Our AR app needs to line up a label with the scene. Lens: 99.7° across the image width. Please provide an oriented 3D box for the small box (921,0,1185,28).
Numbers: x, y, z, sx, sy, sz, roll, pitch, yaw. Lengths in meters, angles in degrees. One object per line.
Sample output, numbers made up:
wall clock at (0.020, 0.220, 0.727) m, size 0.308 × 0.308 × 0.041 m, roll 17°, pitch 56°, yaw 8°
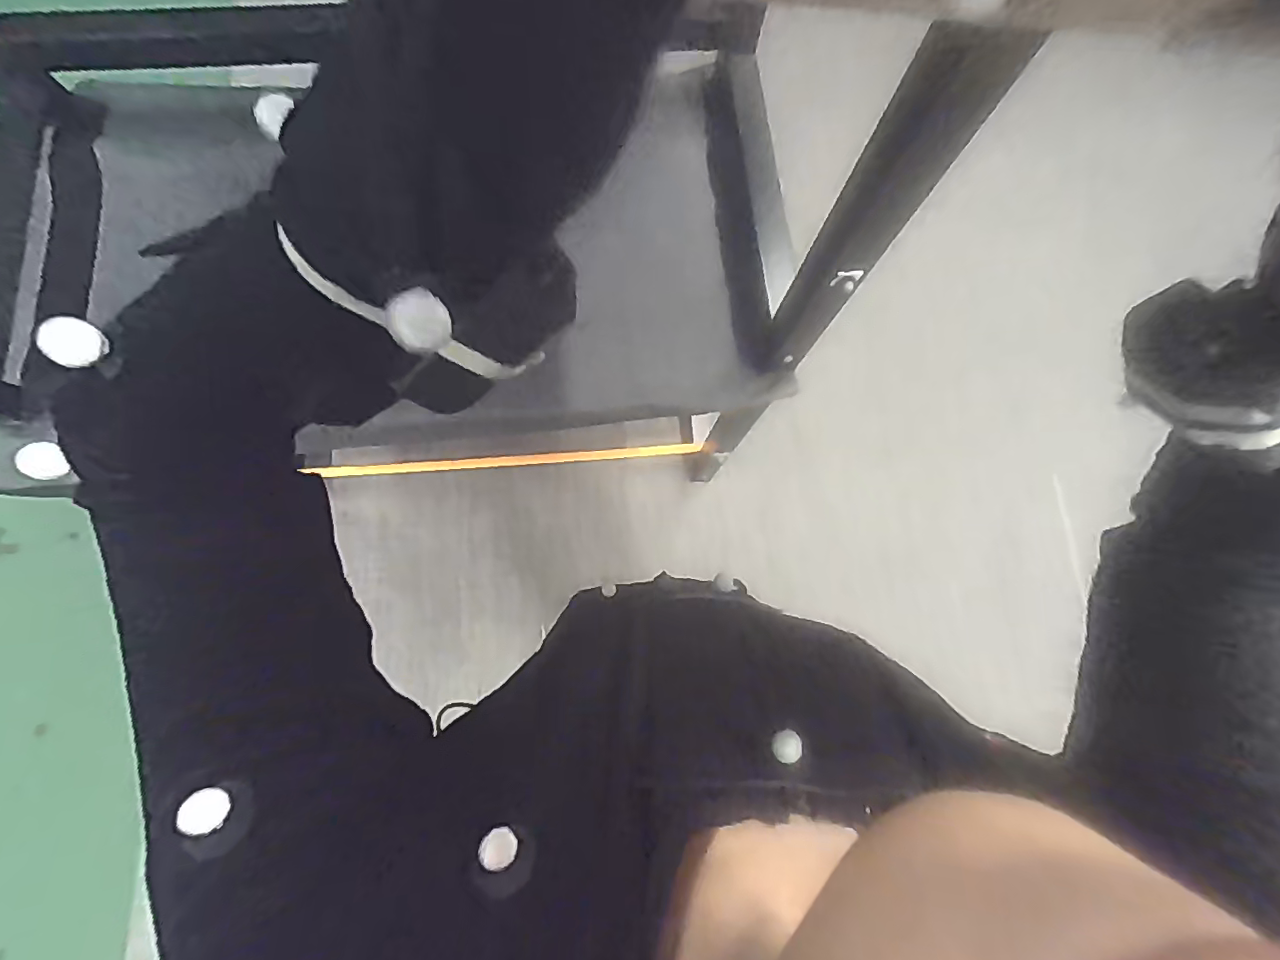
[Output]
small box at (0.098, -0.198, 0.062) m, size 0.168 × 0.176 × 0.179 m, roll 3°, pitch 113°, yaw -4°
